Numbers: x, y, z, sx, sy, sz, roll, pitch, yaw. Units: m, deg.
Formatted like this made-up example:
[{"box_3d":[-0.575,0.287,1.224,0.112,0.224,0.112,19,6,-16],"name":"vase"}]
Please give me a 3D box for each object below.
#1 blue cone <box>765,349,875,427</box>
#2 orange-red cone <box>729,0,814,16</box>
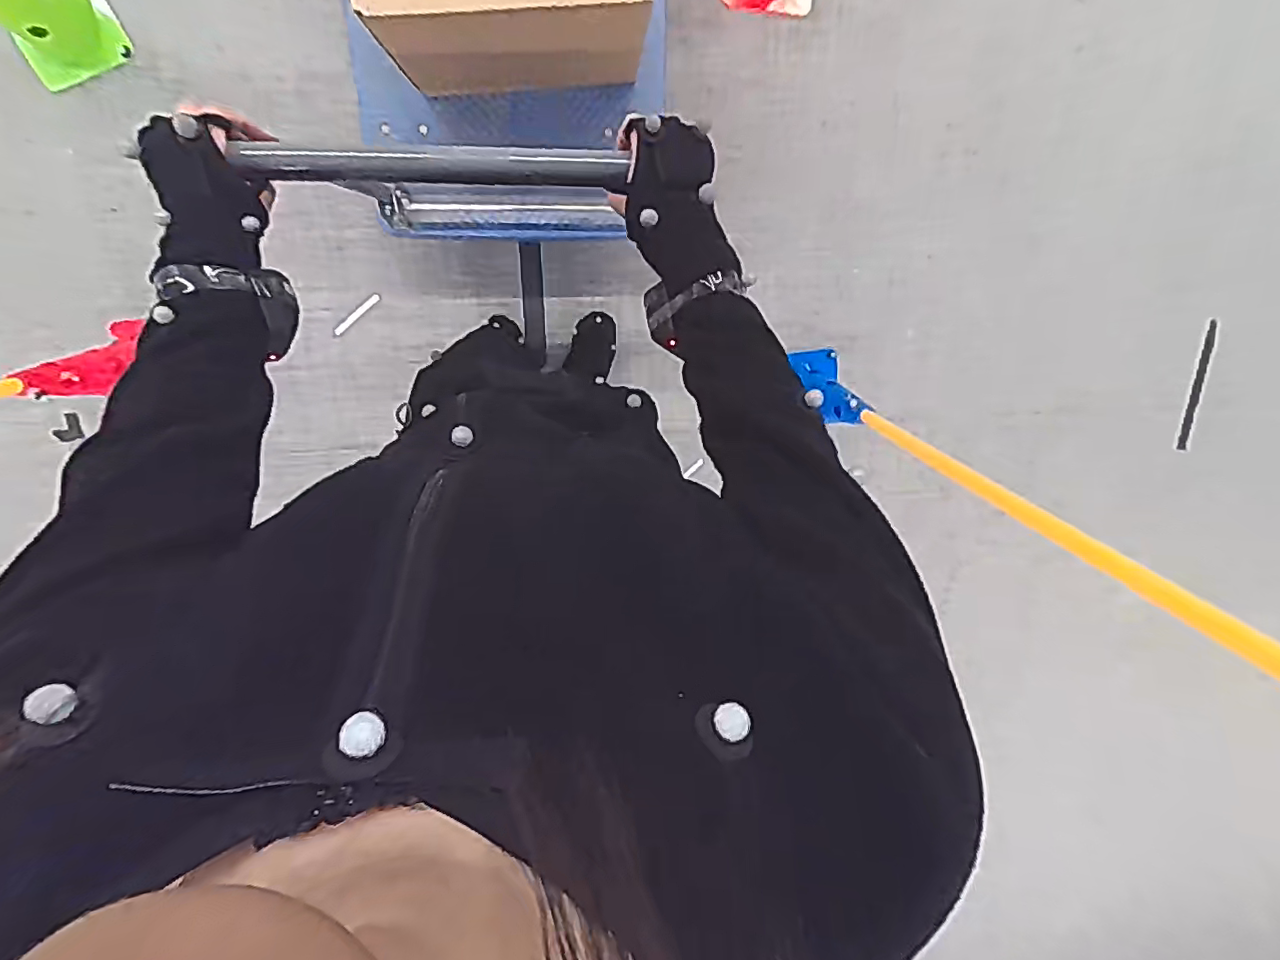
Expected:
[{"box_3d":[0.441,-0.193,1.262,0.193,0.380,0.192,-7,107,-4],"name":"blue cone"},{"box_3d":[0.299,-1.041,0.962,0.199,0.360,0.198,3,108,-7],"name":"orange-red cone"}]
